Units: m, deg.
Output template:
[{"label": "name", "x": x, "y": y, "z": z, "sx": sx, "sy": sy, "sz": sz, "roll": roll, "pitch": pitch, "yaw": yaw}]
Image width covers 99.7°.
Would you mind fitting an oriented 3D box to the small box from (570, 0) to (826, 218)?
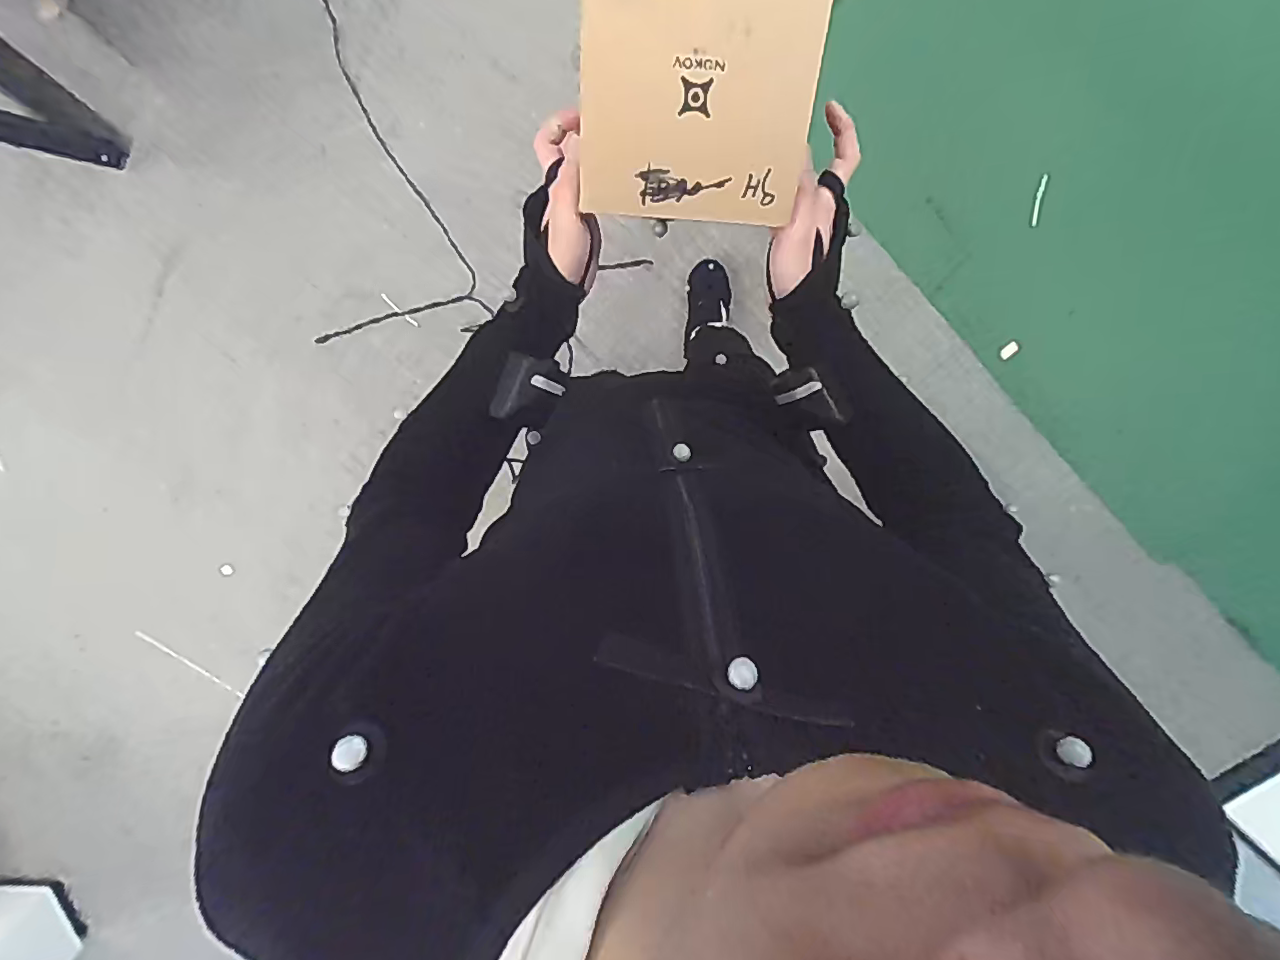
[{"label": "small box", "x": 0.034, "y": -0.315, "z": 0.432, "sx": 0.168, "sy": 0.176, "sz": 0.179, "roll": 3, "pitch": 119, "yaw": -2}]
